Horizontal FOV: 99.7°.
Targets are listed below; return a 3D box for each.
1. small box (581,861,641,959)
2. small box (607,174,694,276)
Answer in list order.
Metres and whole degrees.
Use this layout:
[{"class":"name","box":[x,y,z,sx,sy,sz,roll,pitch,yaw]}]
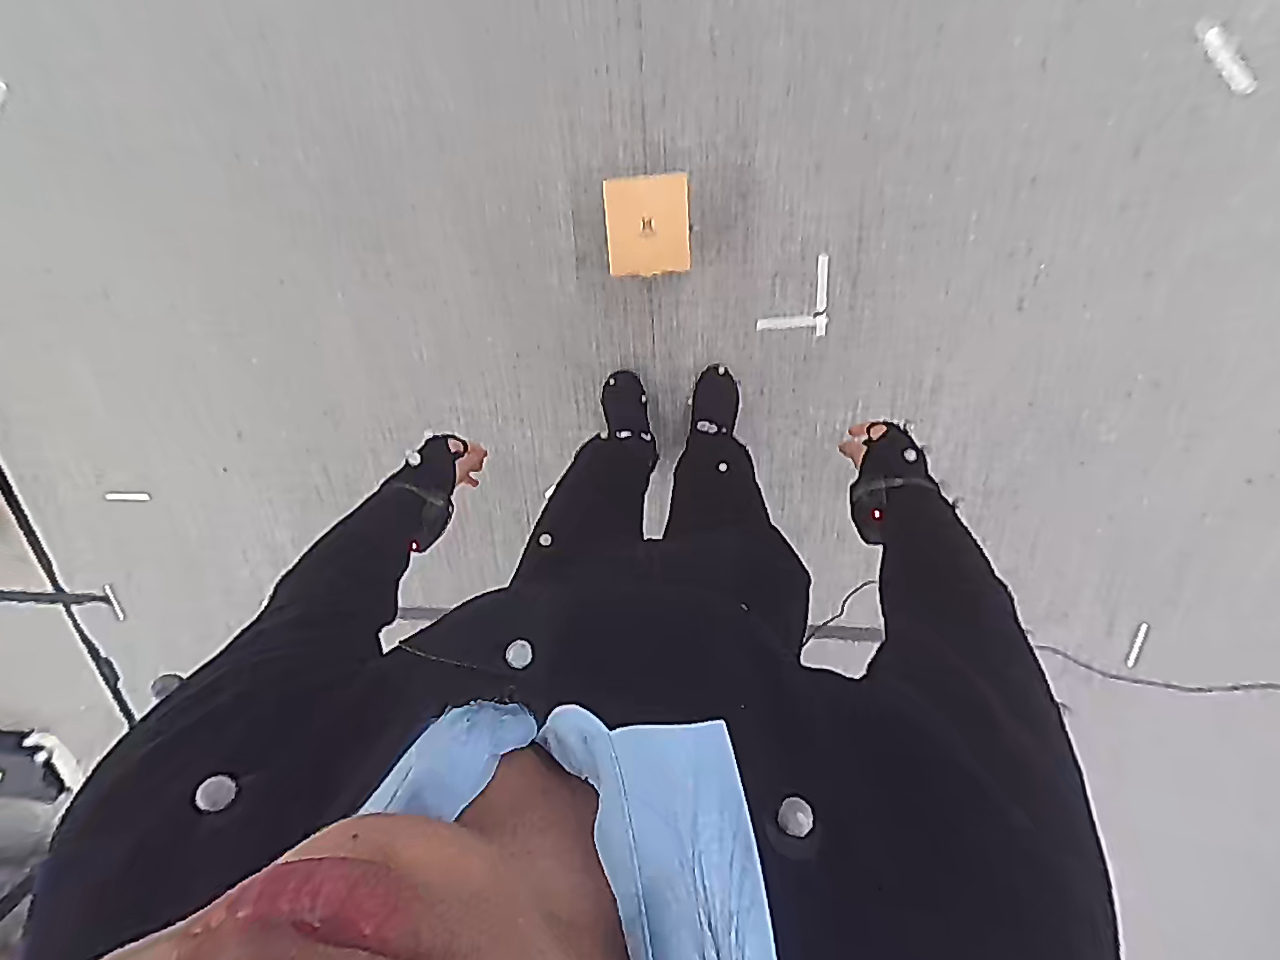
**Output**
[{"class":"small box","box":[-0.086,1.334,1.682,0.168,0.176,0.179,2,112,5]},{"class":"small box","box":[0.029,-0.527,1.138,0.168,0.176,0.179,-2,112,7]}]
